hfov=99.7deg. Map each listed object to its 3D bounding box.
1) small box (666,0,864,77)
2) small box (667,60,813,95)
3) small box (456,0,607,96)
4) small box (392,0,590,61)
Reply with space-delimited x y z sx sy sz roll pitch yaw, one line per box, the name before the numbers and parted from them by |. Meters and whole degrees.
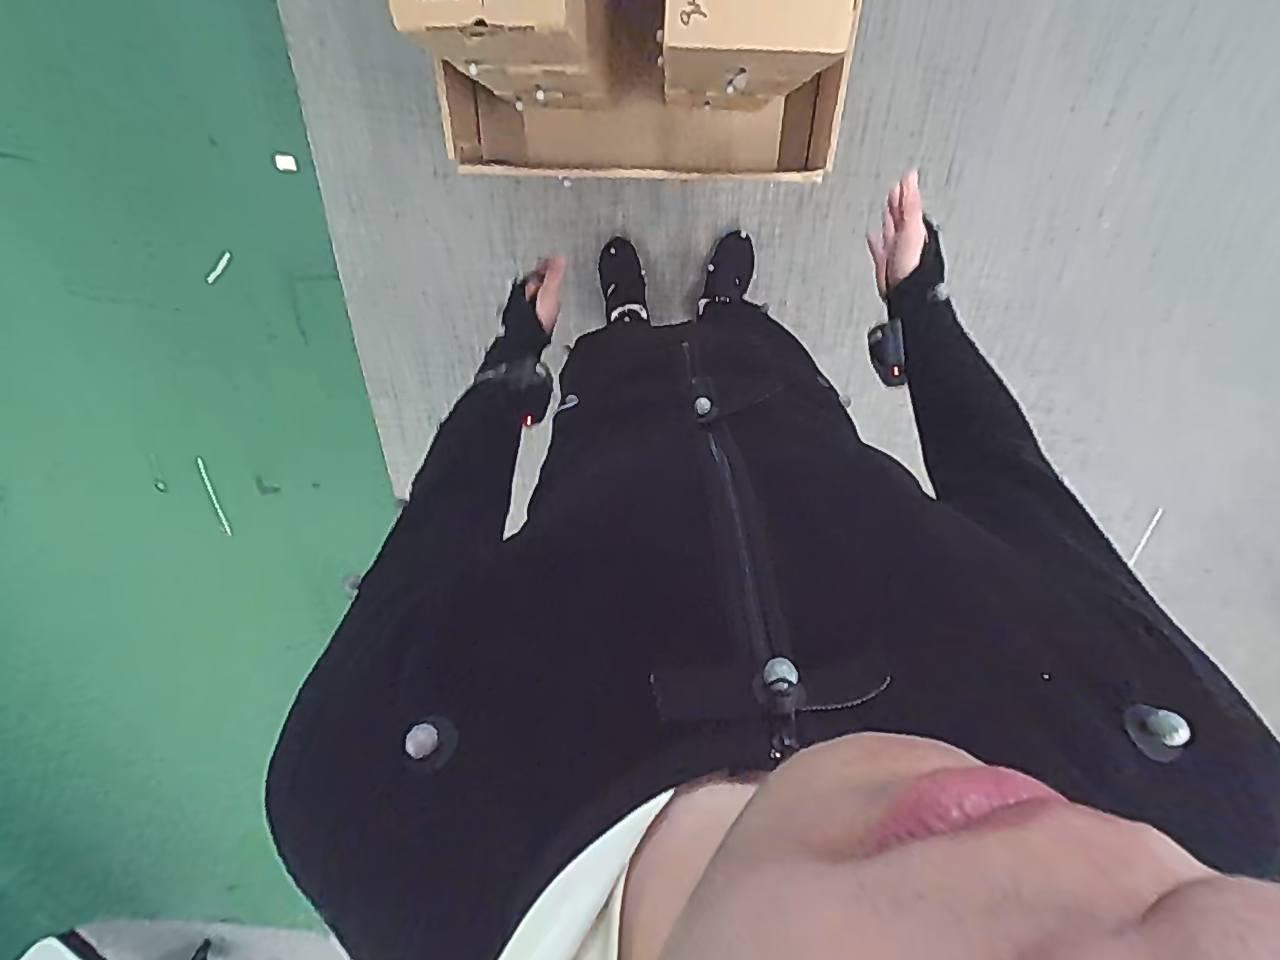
small box | 0.119 -0.512 0.532 0.179 0.176 0.168 3 120 0
small box | 0.127 -0.593 0.673 0.179 0.176 0.168 4 120 0
small box | -0.131 -0.603 0.675 0.168 0.176 0.179 3 118 1
small box | -0.140 -0.530 0.527 0.168 0.176 0.179 1 118 1
